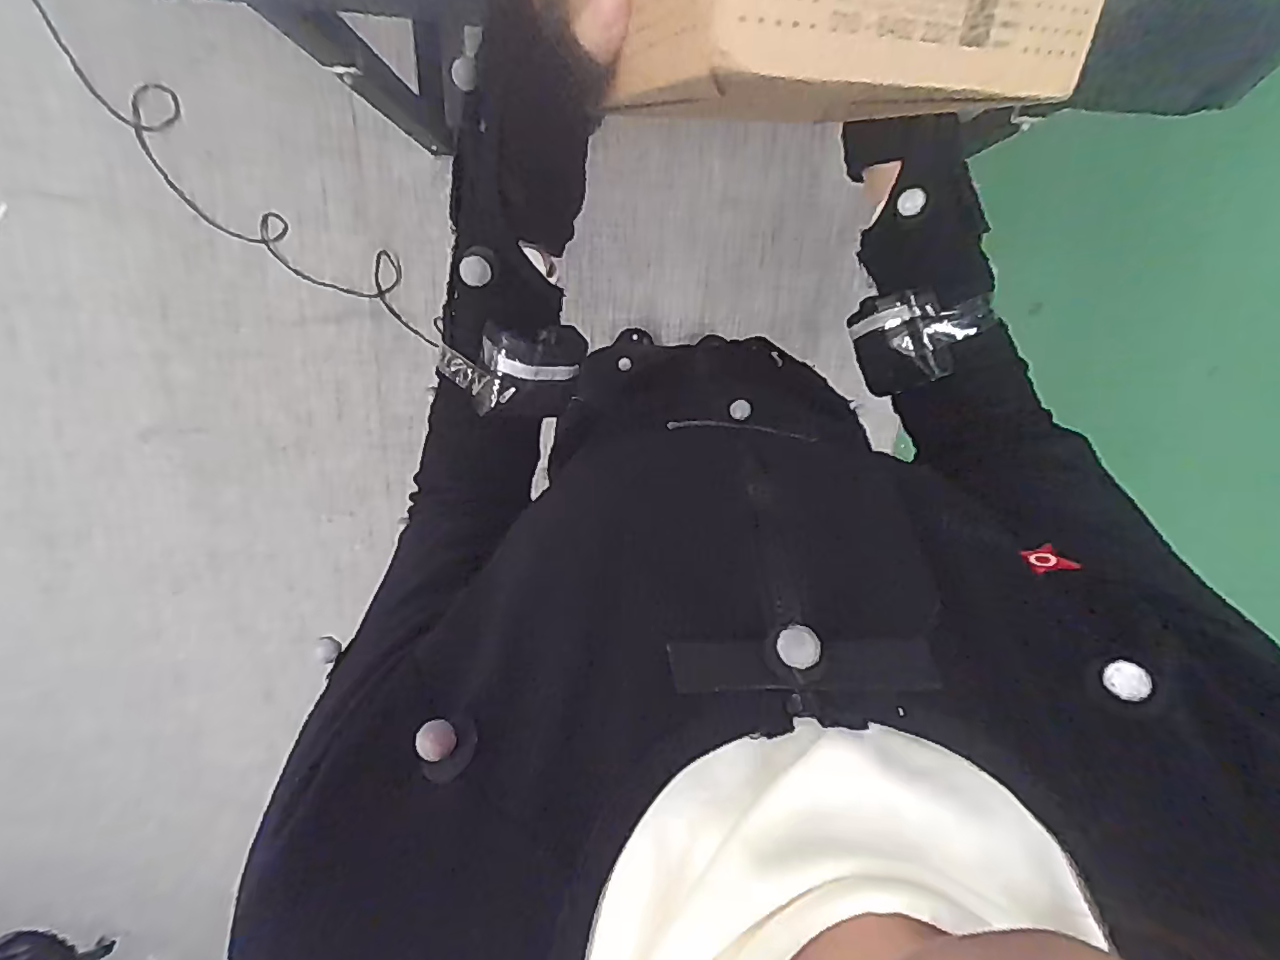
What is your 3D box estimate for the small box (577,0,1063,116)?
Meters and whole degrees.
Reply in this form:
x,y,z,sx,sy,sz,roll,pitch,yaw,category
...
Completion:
x,y,z,sx,sy,sz,roll,pitch,yaw,category
0.067,-0.263,0.234,0.168,0.179,0.176,-10,122,-17,small box
